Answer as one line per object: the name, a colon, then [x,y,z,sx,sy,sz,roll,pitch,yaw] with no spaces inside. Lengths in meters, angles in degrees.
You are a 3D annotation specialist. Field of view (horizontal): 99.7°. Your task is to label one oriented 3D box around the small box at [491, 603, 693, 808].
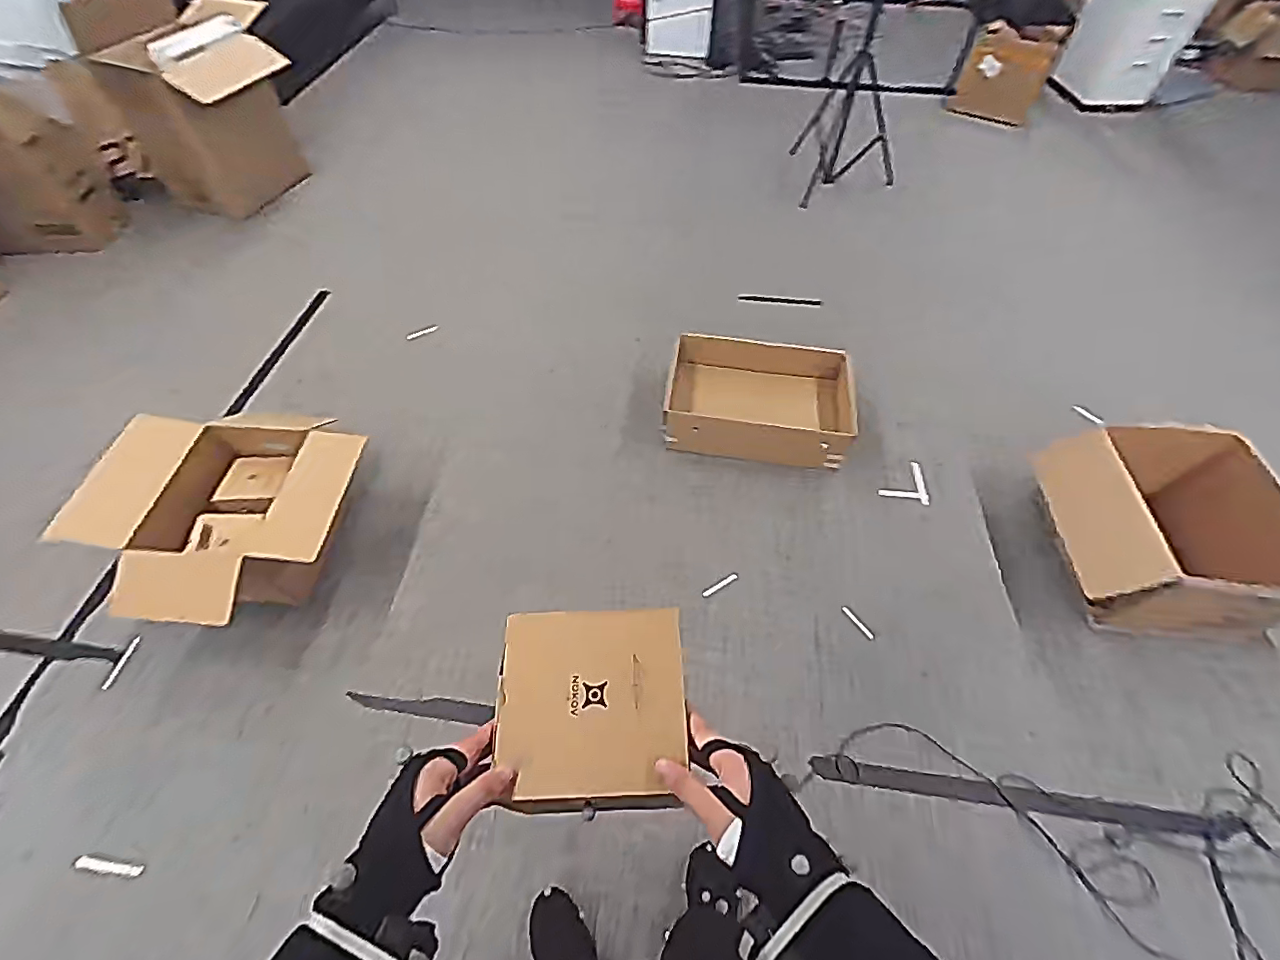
small box: [-0.042,0.241,0.568,0.179,0.176,0.168,-2,55,-1]
